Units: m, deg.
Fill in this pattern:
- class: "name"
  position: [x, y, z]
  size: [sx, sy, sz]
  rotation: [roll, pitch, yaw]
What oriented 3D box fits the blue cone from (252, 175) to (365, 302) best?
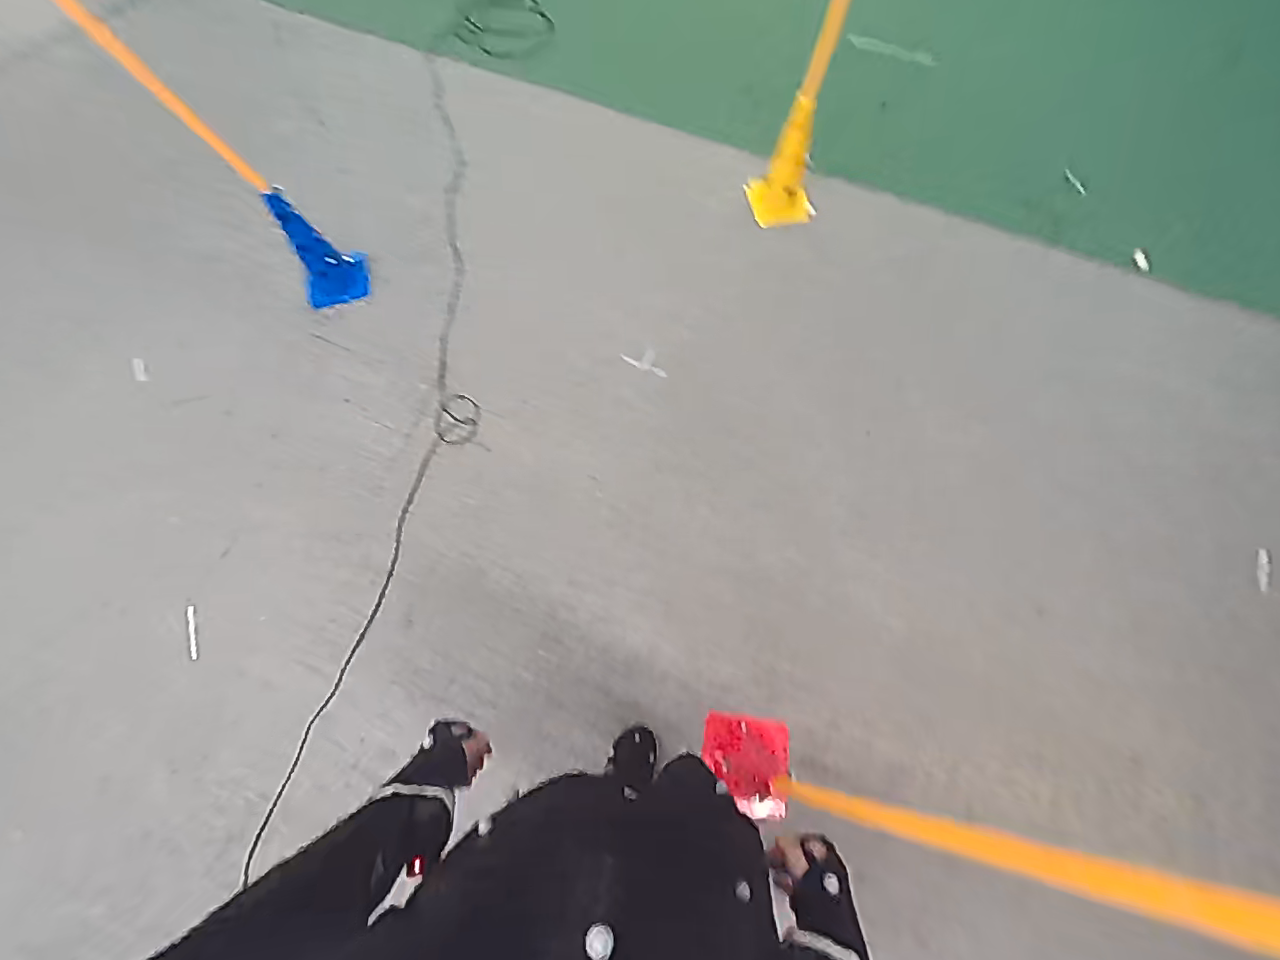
- class: "blue cone"
  position: [-1.002, -0.725, 1.605]
  size: [0.193, 0.380, 0.192]
  rotation: [-18, 71, -4]
